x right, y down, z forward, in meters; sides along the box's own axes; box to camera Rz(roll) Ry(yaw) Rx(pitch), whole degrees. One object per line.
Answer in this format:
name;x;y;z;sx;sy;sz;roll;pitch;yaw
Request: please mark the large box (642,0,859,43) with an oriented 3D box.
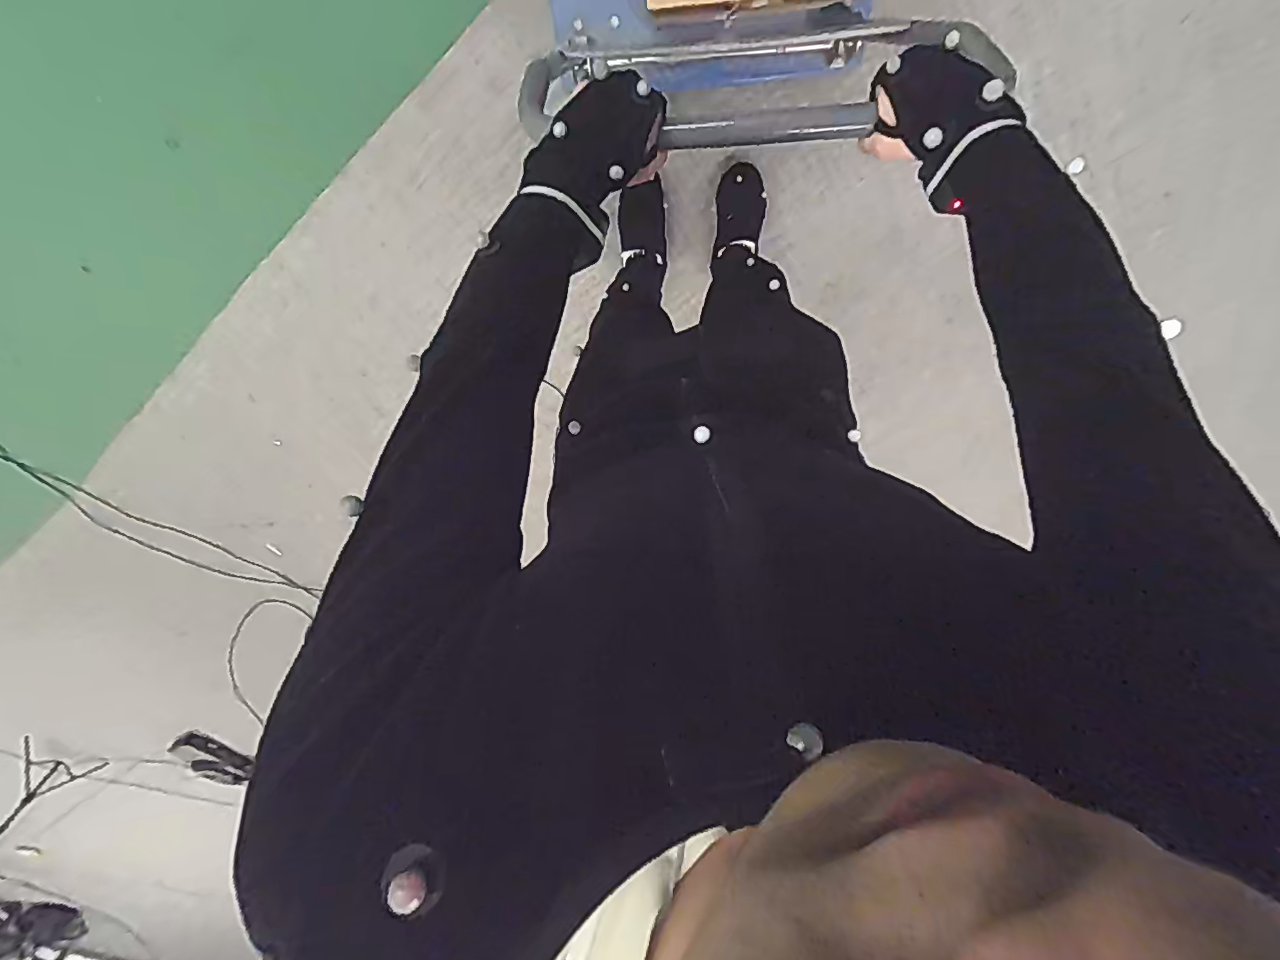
large box;0.149;-0.911;0.780;0.320;0.320;0.408;-3;126;3
